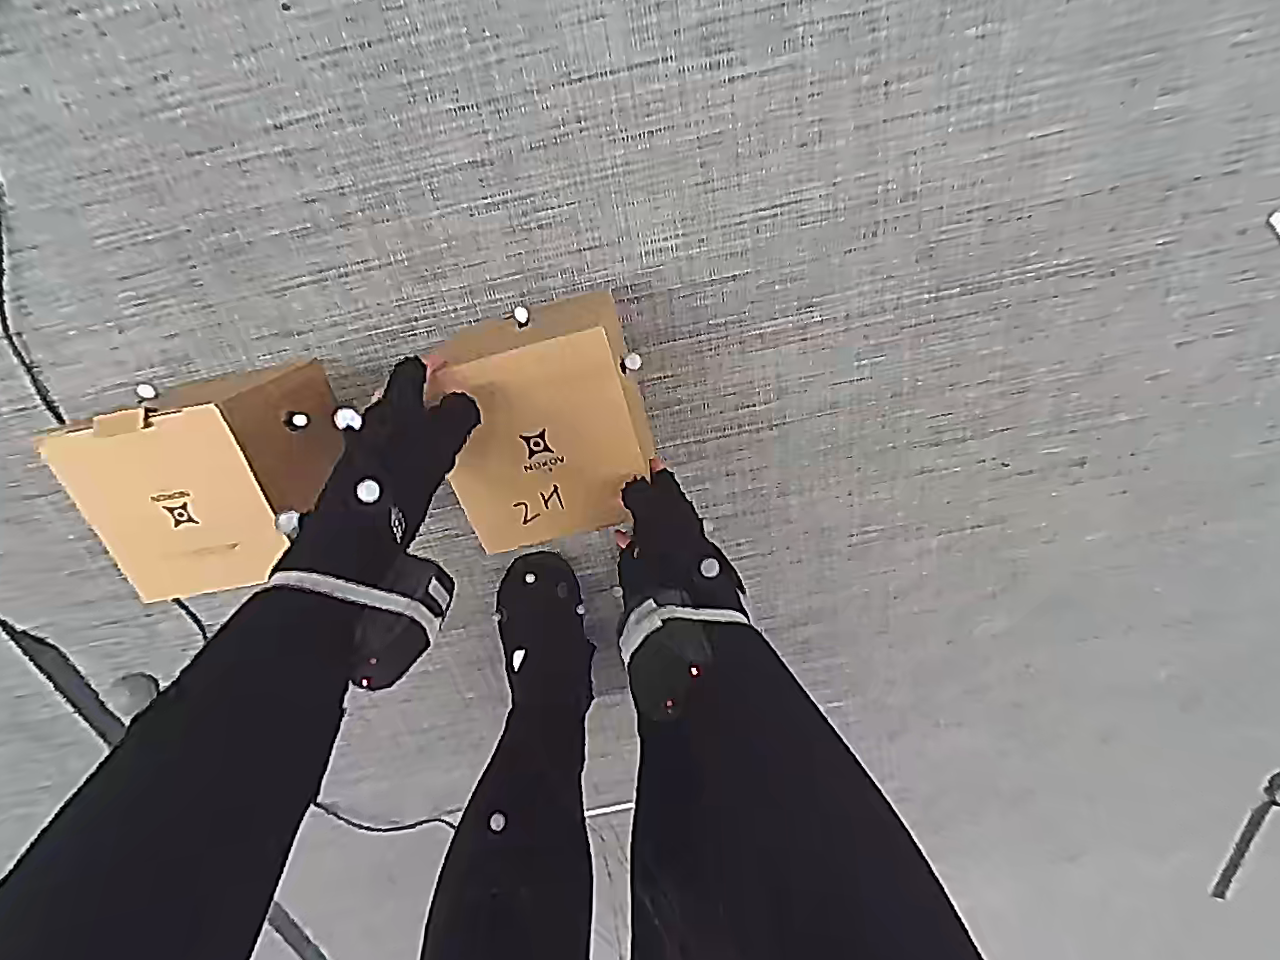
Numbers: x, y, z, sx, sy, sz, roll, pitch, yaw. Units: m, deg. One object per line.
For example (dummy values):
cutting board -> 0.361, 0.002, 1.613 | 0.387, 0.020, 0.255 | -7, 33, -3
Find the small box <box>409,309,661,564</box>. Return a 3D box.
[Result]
small box -> -0.082, -0.052, 0.515 | 0.168, 0.176, 0.179 | -13, 119, 7

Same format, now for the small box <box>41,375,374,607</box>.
small box -> -0.410, -0.001, 0.554 | 0.168, 0.176, 0.179 | -9, 115, 2
